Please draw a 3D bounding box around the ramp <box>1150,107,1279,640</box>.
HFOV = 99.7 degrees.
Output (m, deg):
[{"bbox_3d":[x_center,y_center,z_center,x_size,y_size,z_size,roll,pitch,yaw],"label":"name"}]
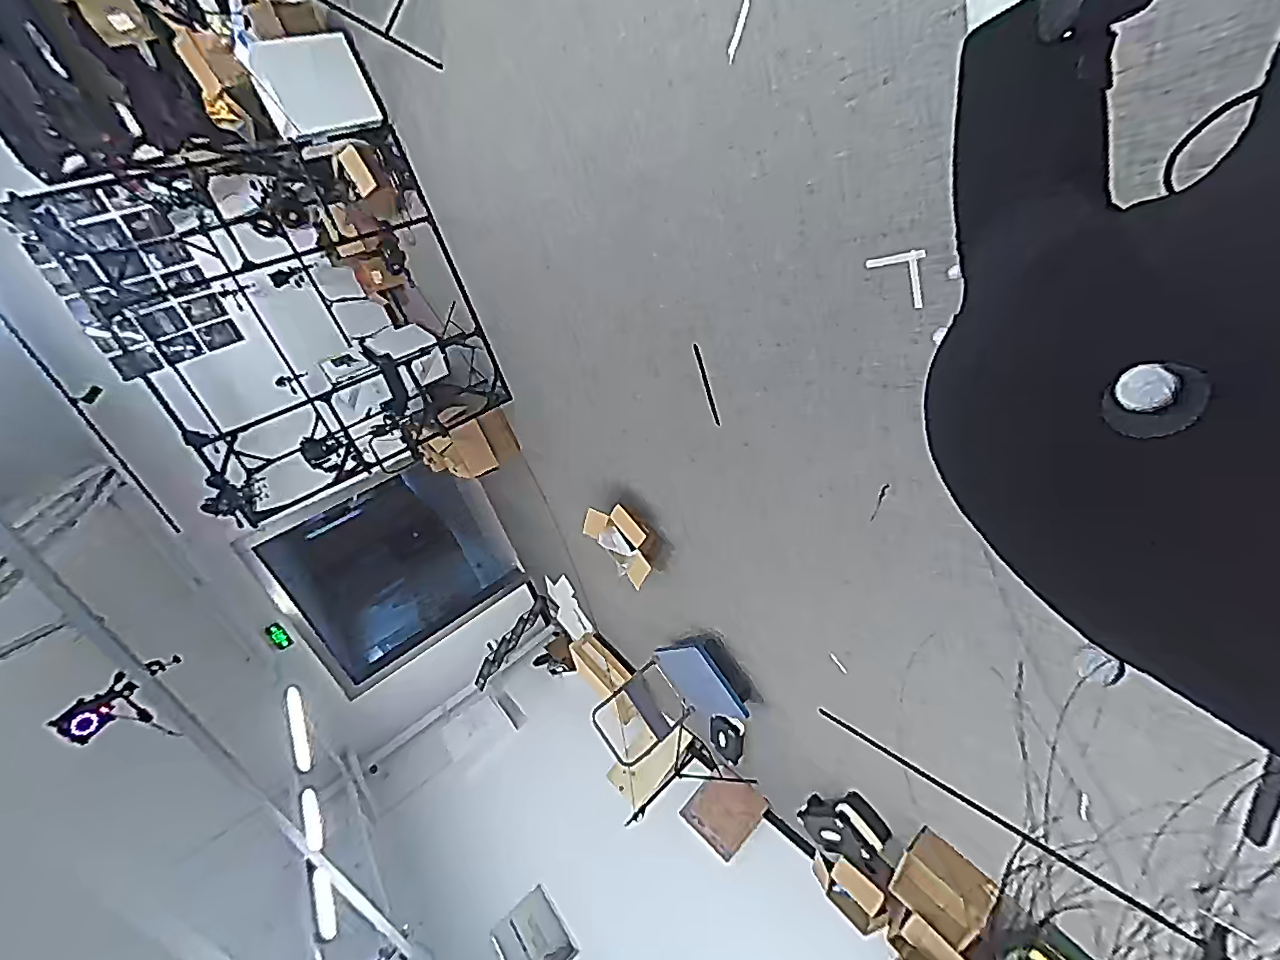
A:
[{"bbox_3d":[1.263,-0.129,0.918,0.509,0.206,0.991,16,132,53],"label":"ramp"}]
